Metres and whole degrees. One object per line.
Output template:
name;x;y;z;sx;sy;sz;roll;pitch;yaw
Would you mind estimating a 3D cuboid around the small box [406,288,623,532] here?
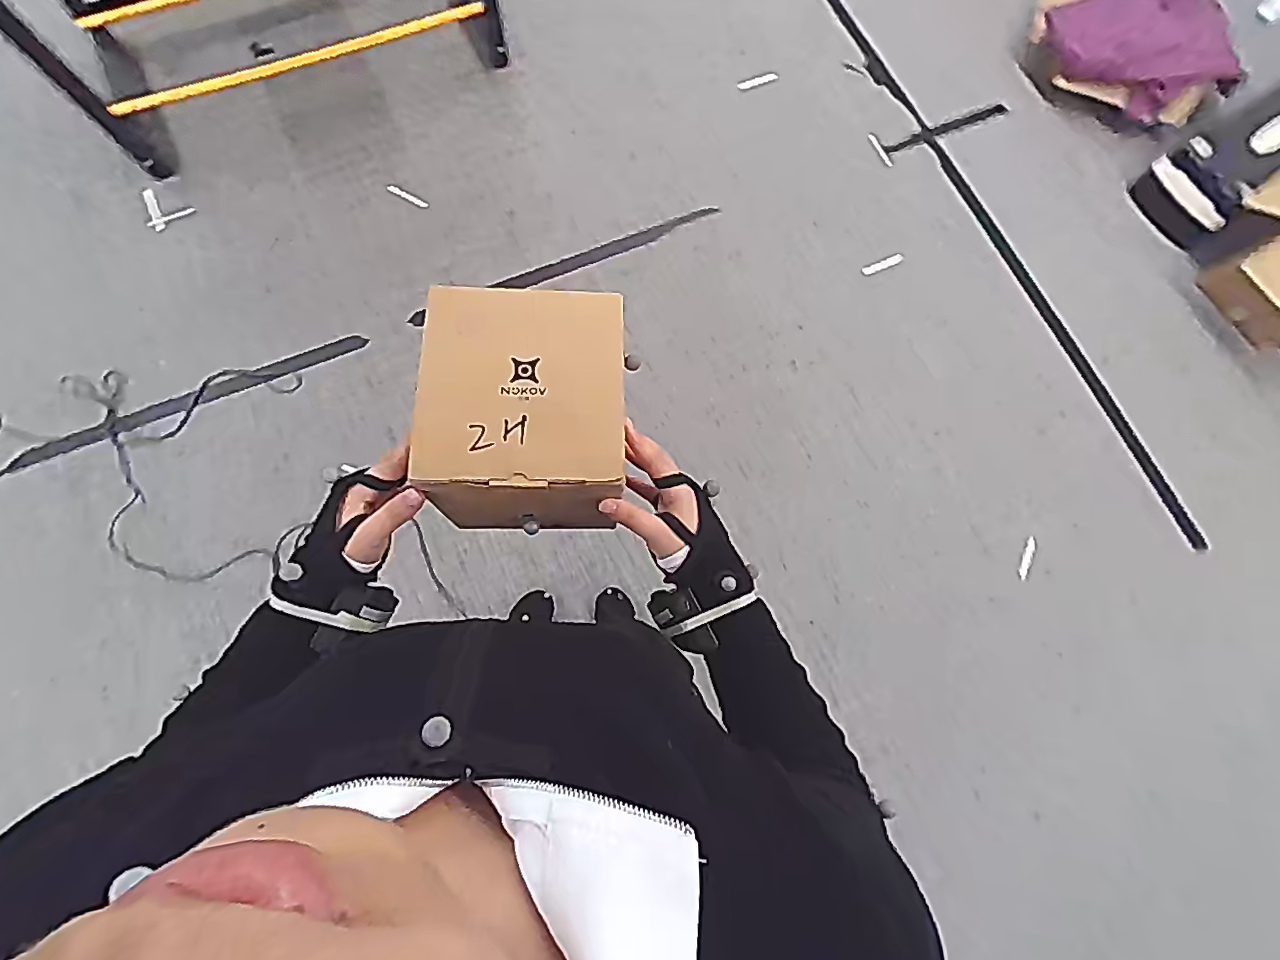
small box;-0.102;-0.055;0.511;0.168;0.176;0.179;-1;72;-4
